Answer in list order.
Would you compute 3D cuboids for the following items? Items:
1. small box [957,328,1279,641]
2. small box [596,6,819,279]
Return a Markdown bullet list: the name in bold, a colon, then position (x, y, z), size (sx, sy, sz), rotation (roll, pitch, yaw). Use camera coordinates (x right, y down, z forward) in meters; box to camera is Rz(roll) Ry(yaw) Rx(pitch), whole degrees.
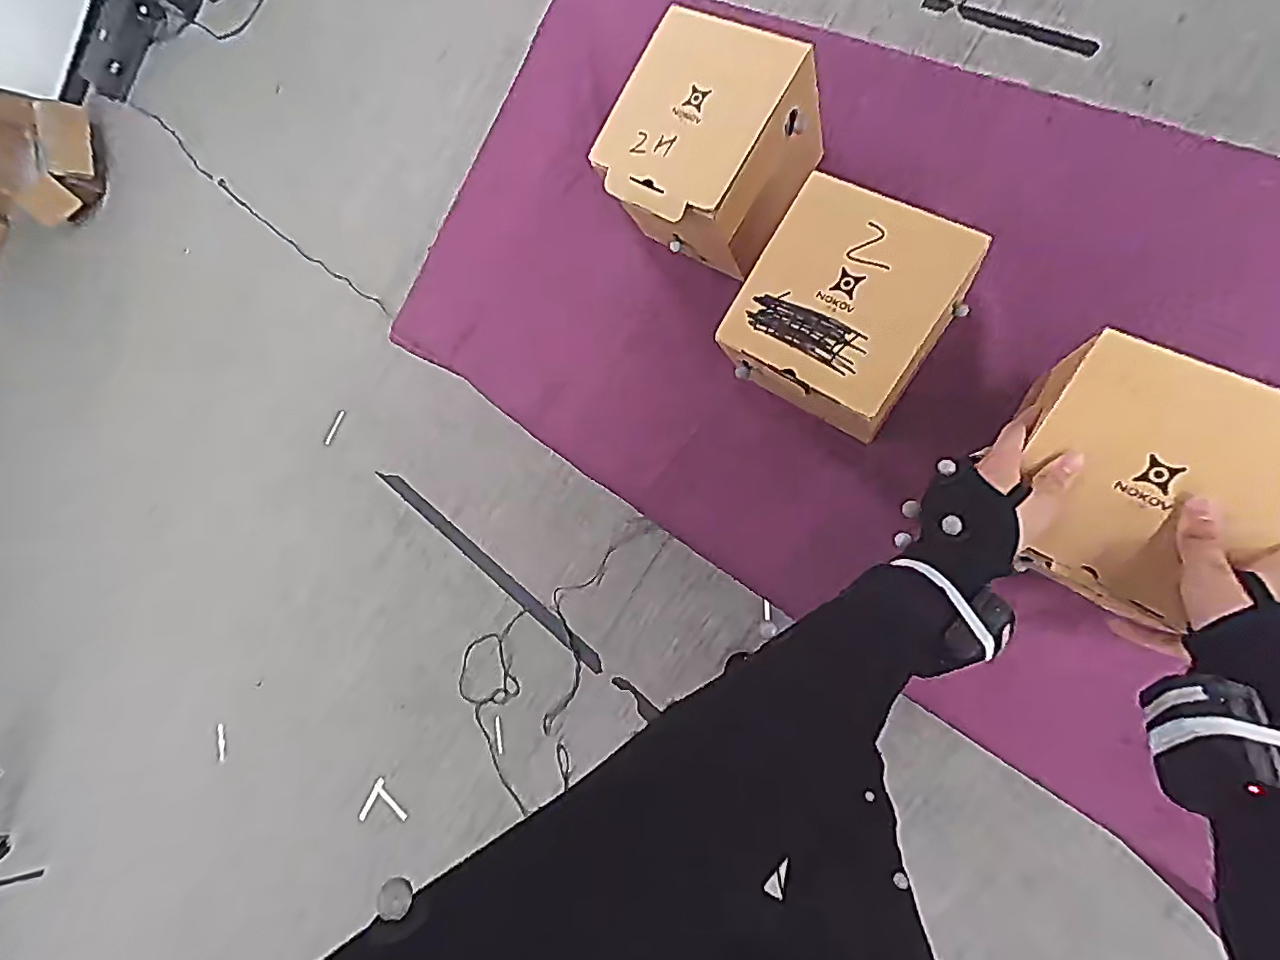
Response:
- **small box**: position (0.405, 0.003, 0.465), size (0.168, 0.176, 0.179), rotation (32, 99, 21)
- **small box**: position (0.086, -0.365, 0.613), size (0.168, 0.176, 0.179), rotation (35, 100, 21)
